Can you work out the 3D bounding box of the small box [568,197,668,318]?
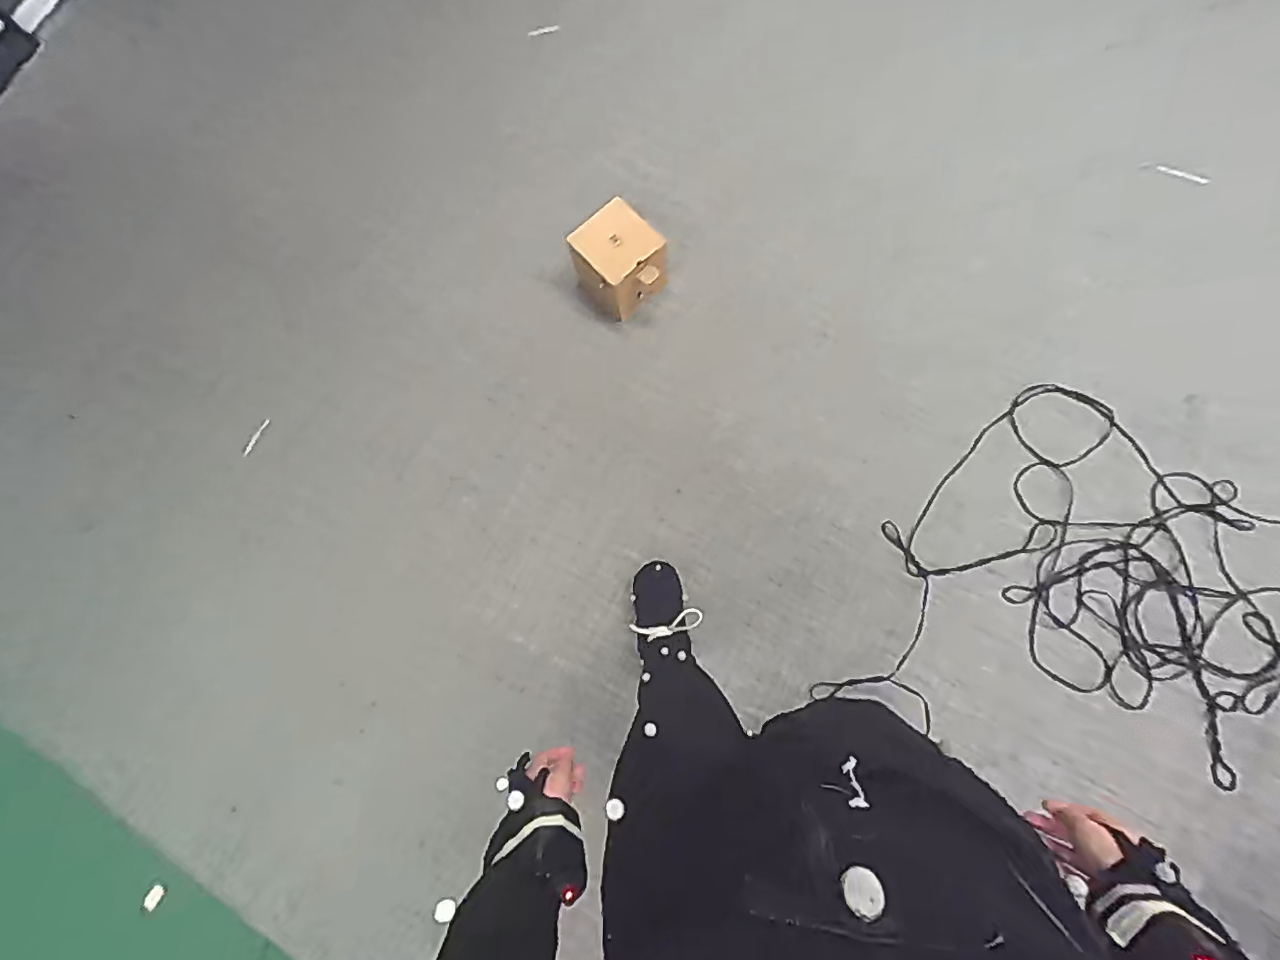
[{"bbox_3d":[-0.048,-0.534,1.318,0.168,0.176,0.179,-42,79,-5],"label":"small box"}]
